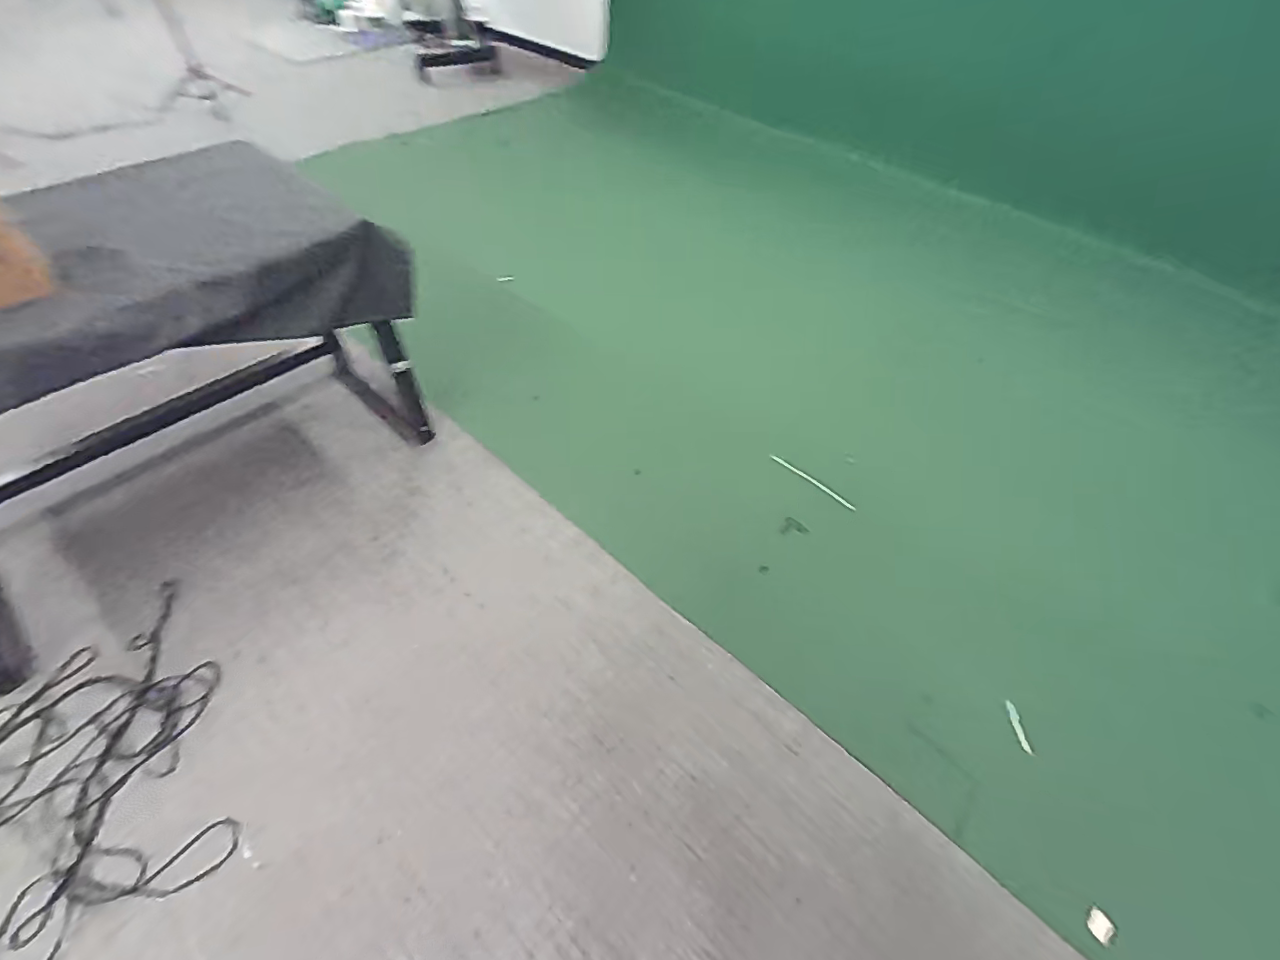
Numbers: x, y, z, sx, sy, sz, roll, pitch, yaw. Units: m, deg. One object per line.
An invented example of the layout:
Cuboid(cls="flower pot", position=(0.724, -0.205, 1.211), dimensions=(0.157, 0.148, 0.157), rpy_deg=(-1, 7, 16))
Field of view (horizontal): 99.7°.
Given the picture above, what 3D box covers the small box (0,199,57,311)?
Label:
Cuboid(cls="small box", position=(-1.195, -0.405, 0.955), dimensions=(0.179, 0.176, 0.168), rpy_deg=(-33, 58, -25))
